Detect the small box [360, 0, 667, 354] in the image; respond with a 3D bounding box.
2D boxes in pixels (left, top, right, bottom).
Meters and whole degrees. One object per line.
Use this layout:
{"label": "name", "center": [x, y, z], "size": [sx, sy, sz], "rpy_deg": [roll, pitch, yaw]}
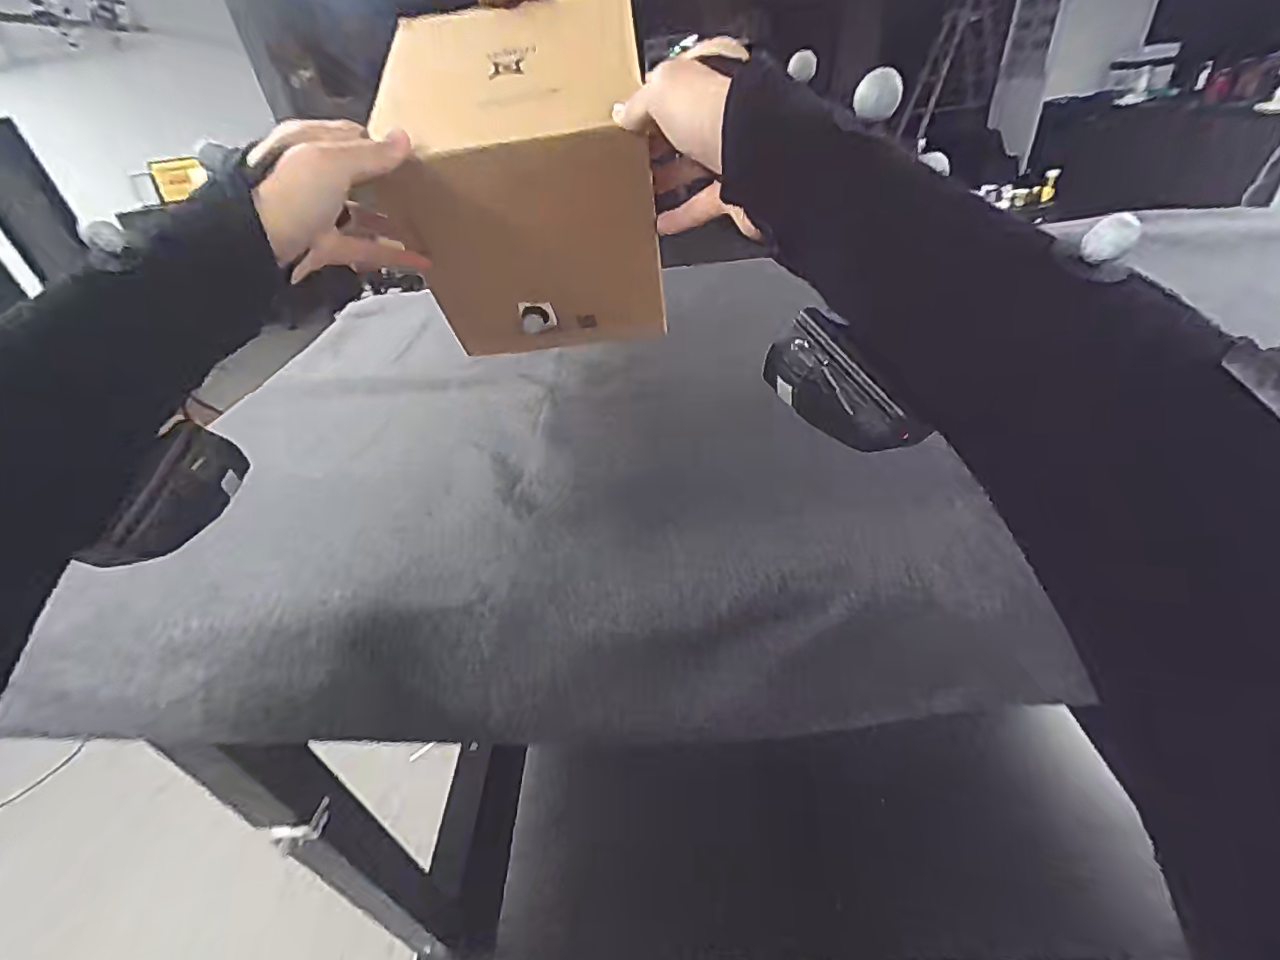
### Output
{"label": "small box", "center": [-0.072, -0.222, 0.407], "size": [0.168, 0.176, 0.179], "rpy_deg": [-7, 60, 4]}
